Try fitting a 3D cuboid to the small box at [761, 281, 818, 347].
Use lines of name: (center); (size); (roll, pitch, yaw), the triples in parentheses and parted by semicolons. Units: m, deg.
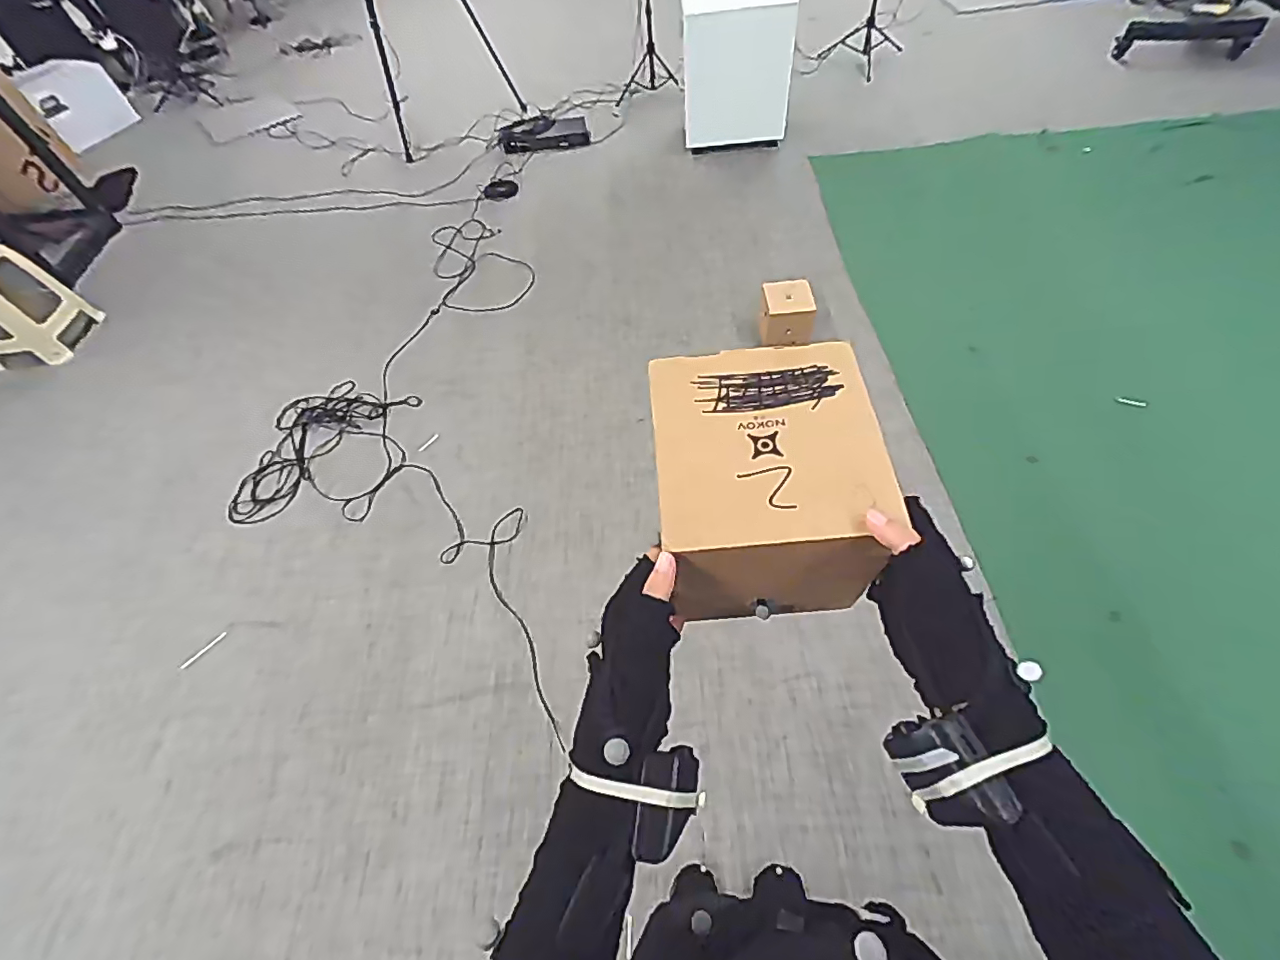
small box: (0.552, -0.610, 2.014); (0.168, 0.176, 0.179); (-4, 56, 3)
